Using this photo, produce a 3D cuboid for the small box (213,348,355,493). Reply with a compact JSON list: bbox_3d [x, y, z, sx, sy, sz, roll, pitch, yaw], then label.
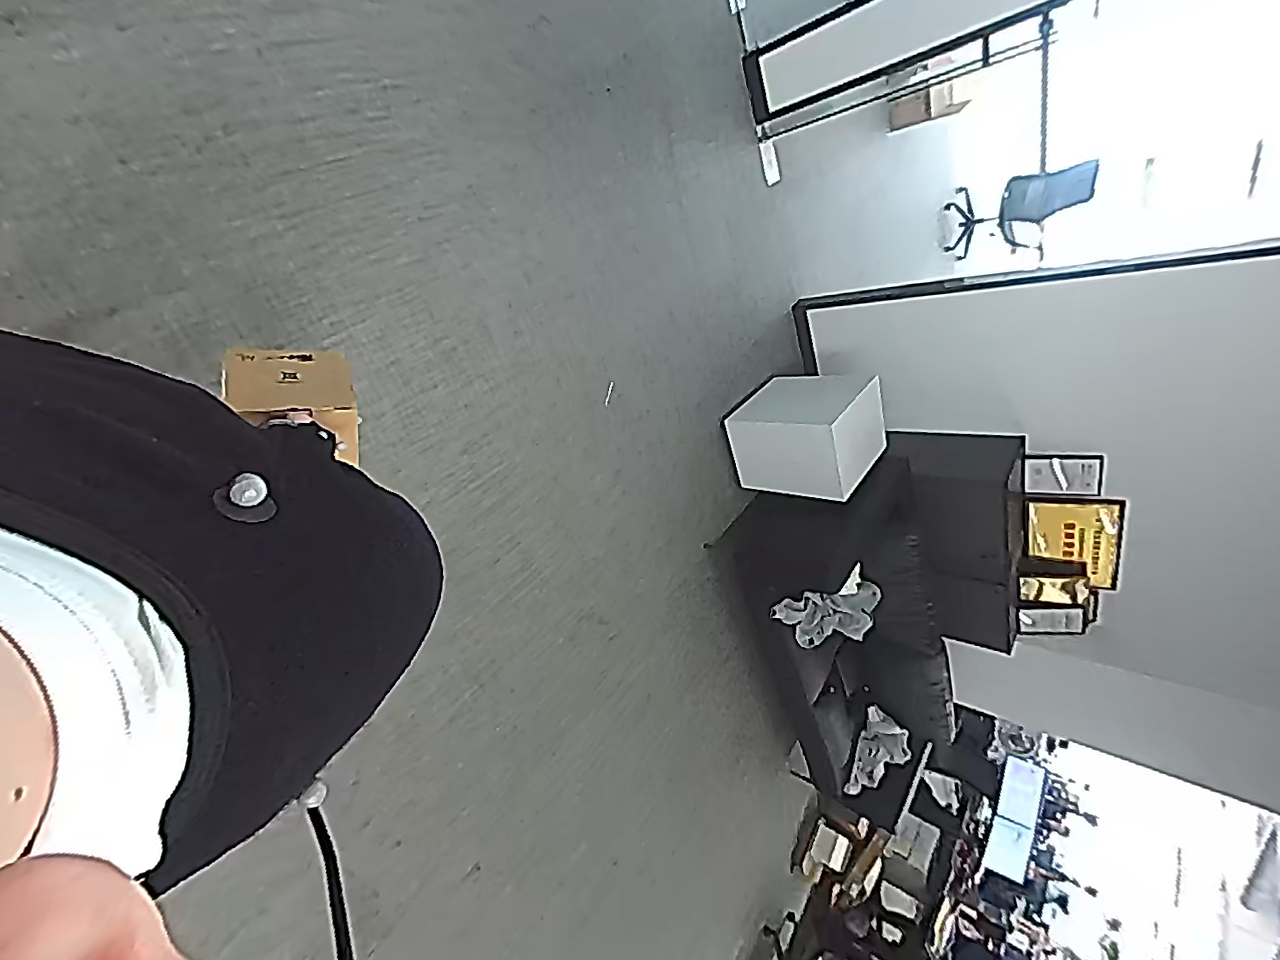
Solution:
[{"bbox_3d":[-0.562,-0.093,0.864,0.168,0.179,0.176,-9,135,-33],"label":"small box"}]
